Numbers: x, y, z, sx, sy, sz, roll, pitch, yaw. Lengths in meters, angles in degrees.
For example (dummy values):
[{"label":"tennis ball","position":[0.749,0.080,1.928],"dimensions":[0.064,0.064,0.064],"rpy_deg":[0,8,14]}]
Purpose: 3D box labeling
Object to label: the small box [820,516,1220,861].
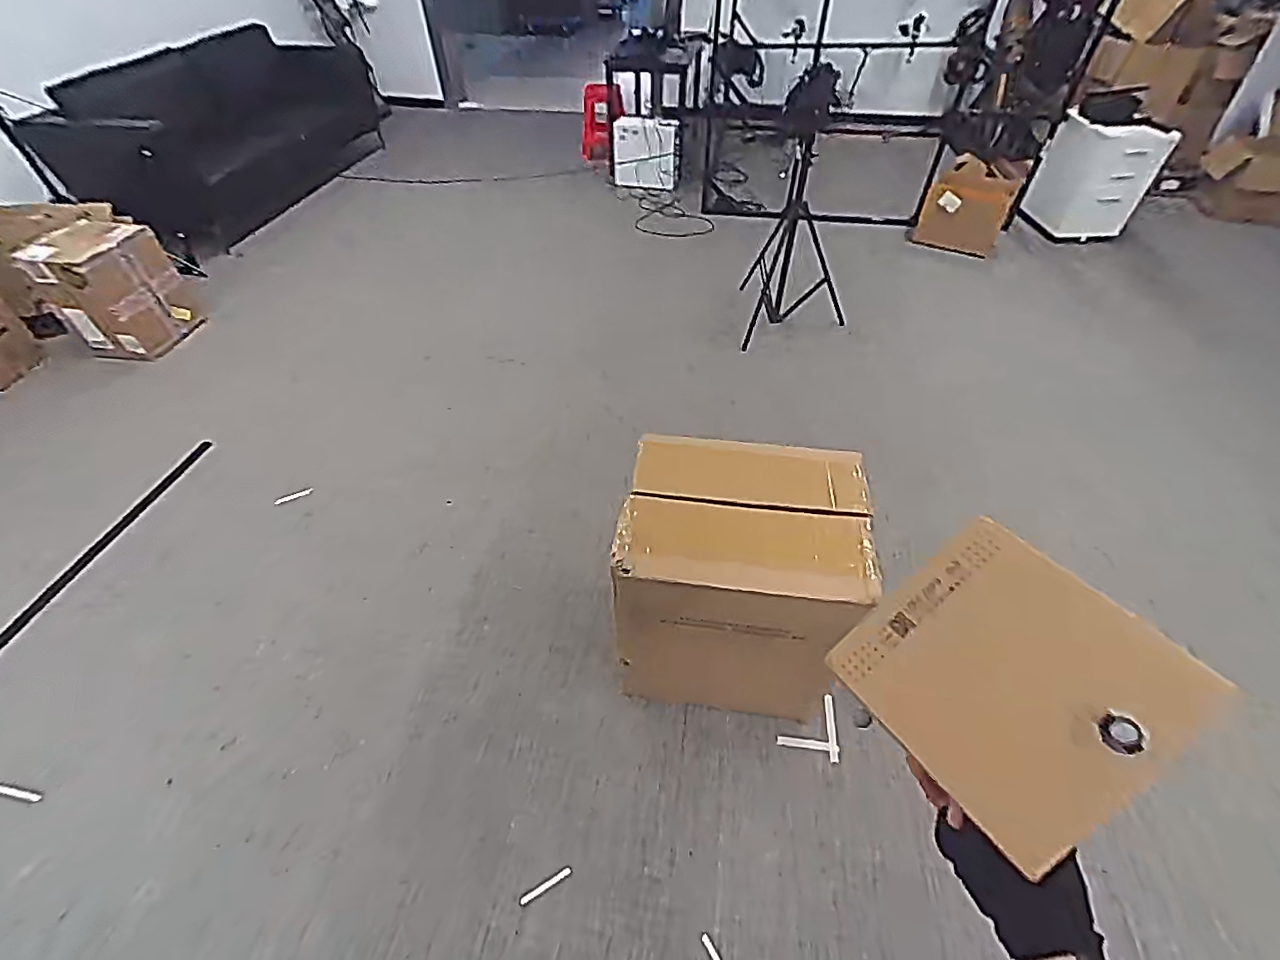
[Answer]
[{"label":"small box","position":[0.272,0.156,0.432],"dimensions":[0.168,0.179,0.176],"rpy_deg":[-44,53,1]}]
